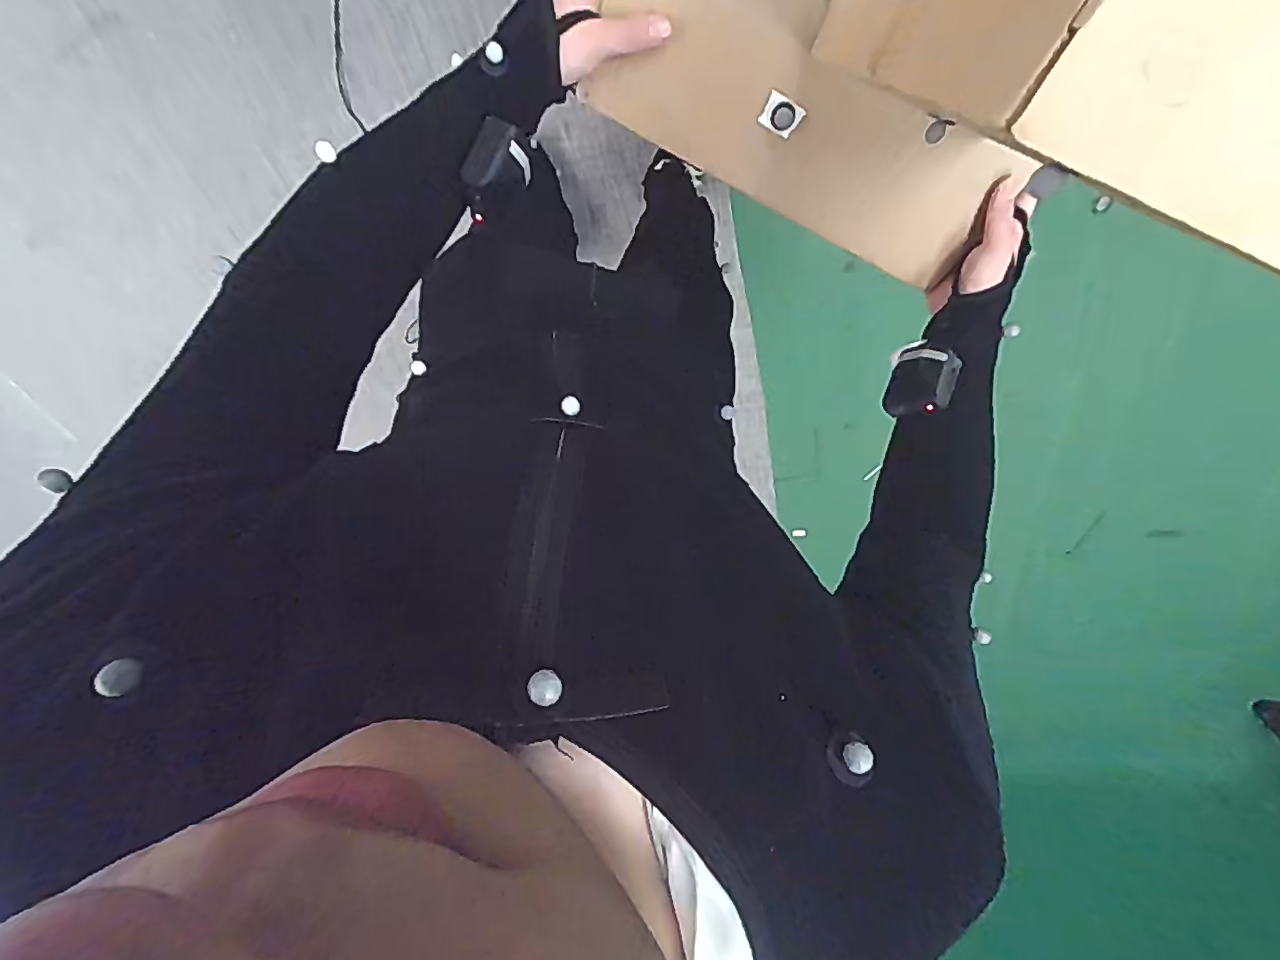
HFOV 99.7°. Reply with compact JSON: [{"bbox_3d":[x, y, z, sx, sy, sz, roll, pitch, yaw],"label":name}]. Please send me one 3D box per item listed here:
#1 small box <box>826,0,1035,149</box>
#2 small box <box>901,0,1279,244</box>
[{"bbox_3d":[0.241,-0.325,0.334,0.179,0.176,0.168,17,131,-10],"label":"small box"},{"bbox_3d":[0.241,-0.214,0.212,0.179,0.176,0.168,18,129,-10],"label":"small box"}]
